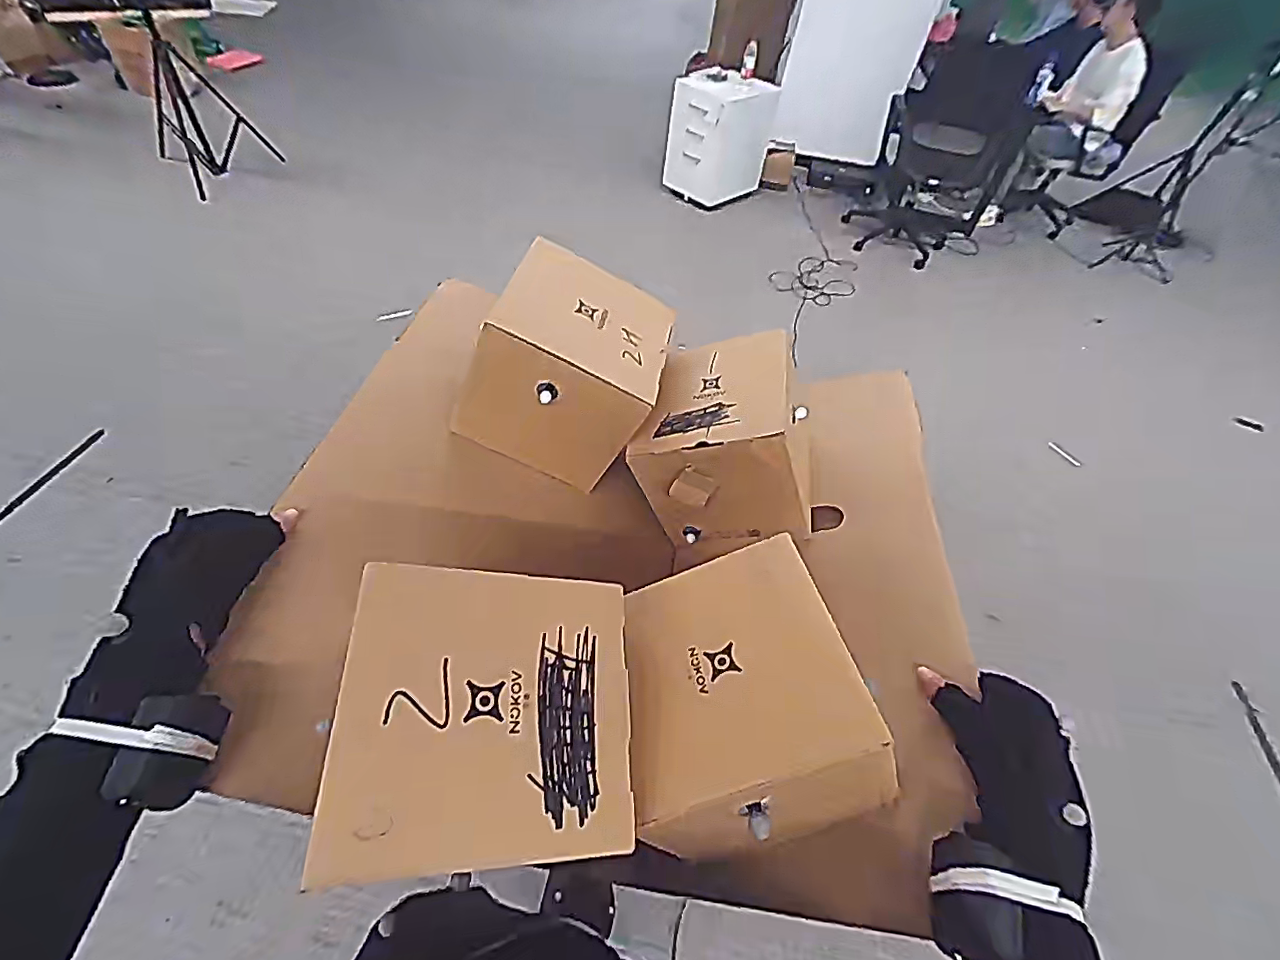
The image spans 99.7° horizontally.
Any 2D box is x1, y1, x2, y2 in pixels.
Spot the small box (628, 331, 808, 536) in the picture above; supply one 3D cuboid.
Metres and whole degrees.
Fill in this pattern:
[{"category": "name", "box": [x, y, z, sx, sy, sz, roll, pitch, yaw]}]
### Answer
[{"category": "small box", "box": [0.105, -0.044, 0.647, 0.168, 0.176, 0.179, -6, 46, 23]}]
